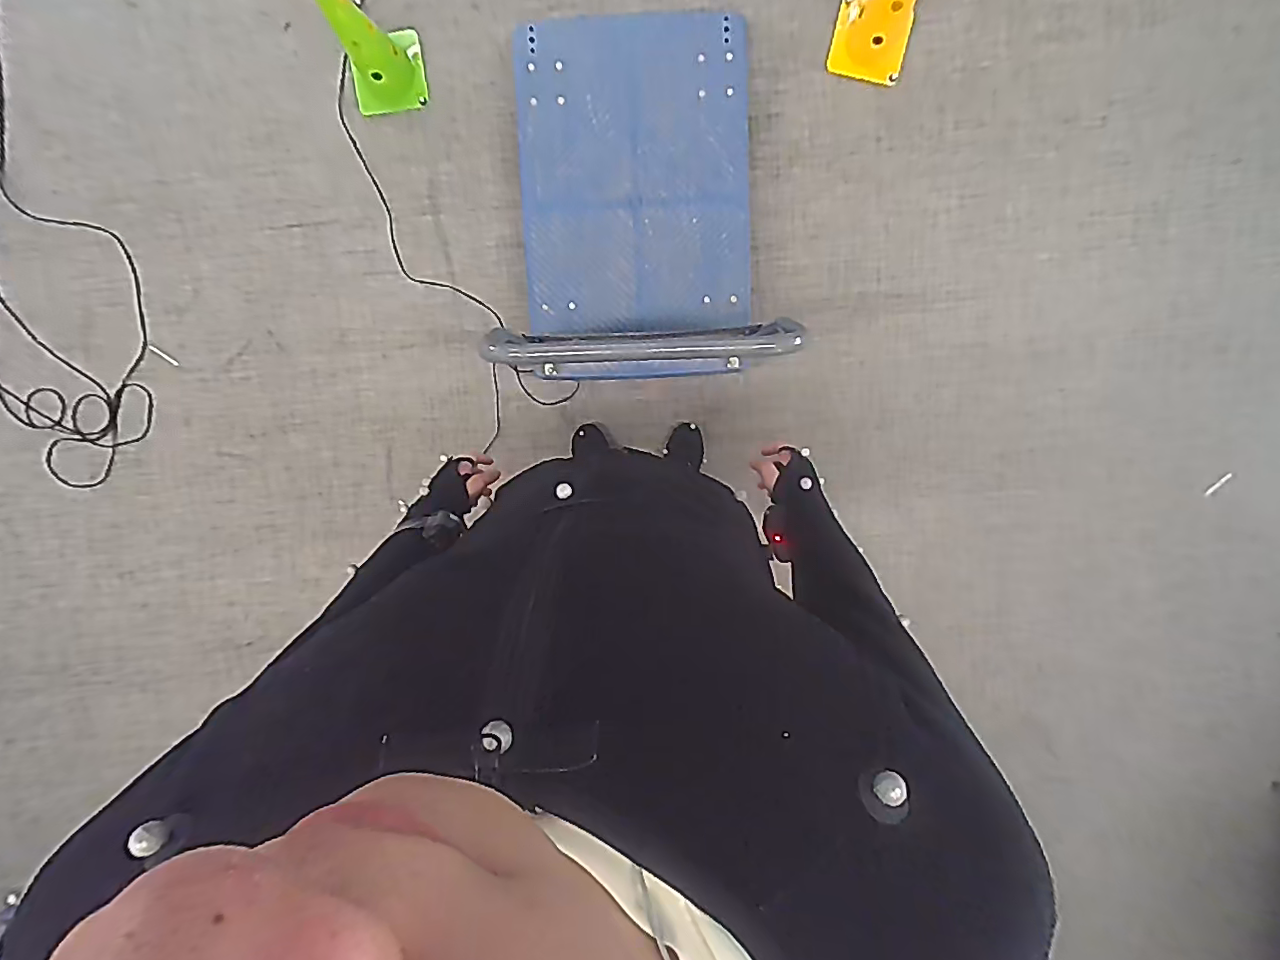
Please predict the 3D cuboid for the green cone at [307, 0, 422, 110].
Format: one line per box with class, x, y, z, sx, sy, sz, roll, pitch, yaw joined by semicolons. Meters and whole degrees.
green cone;-0.715;-1.113;1.311;0.202;0.368;0.200;-8;97;4
